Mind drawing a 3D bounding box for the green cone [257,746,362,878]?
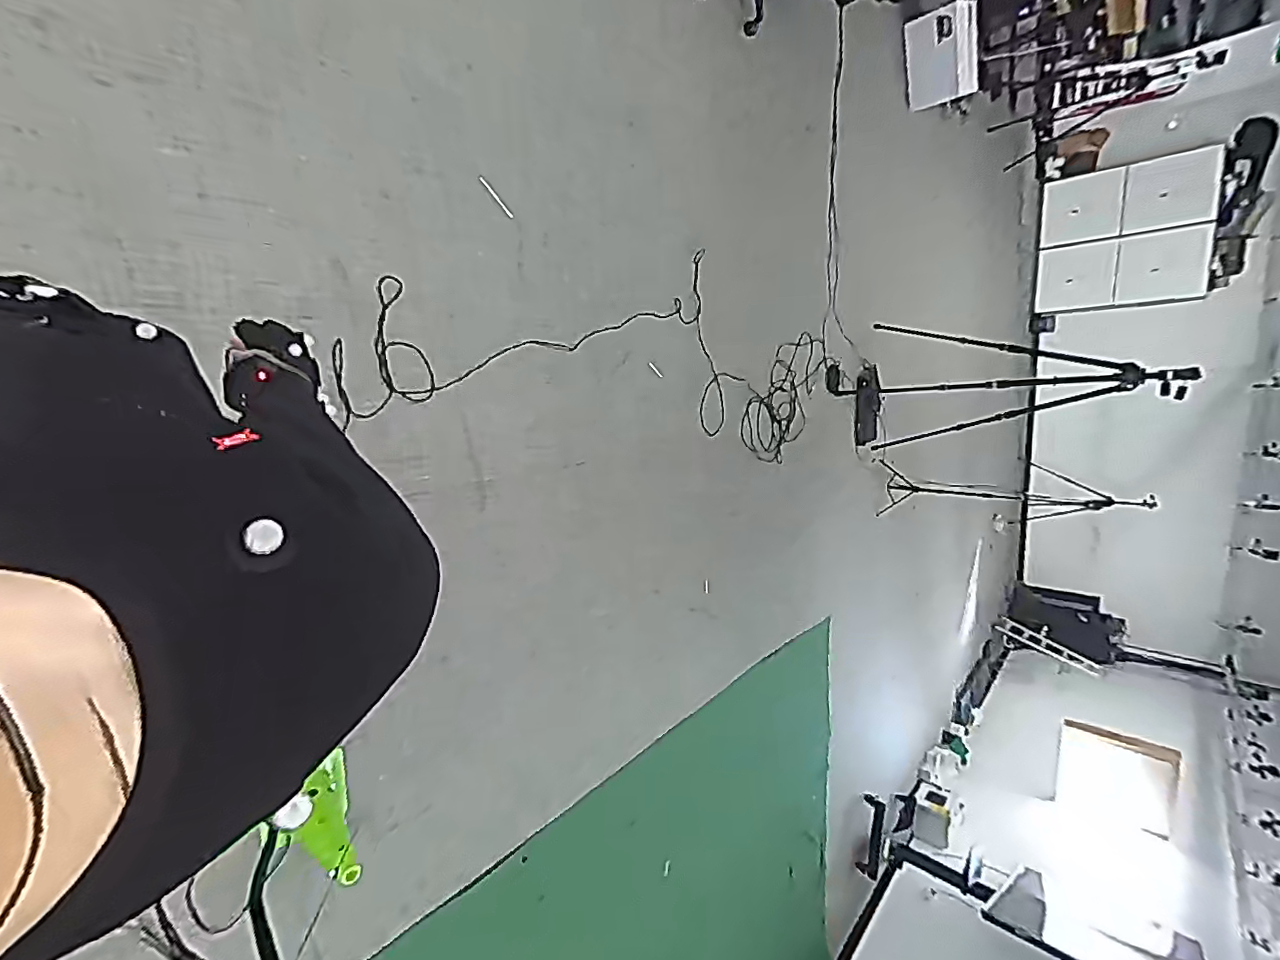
[{"bbox_3d":[-0.751,0.836,1.298,0.200,0.368,0.202,-10,101,-46],"label":"green cone"}]
